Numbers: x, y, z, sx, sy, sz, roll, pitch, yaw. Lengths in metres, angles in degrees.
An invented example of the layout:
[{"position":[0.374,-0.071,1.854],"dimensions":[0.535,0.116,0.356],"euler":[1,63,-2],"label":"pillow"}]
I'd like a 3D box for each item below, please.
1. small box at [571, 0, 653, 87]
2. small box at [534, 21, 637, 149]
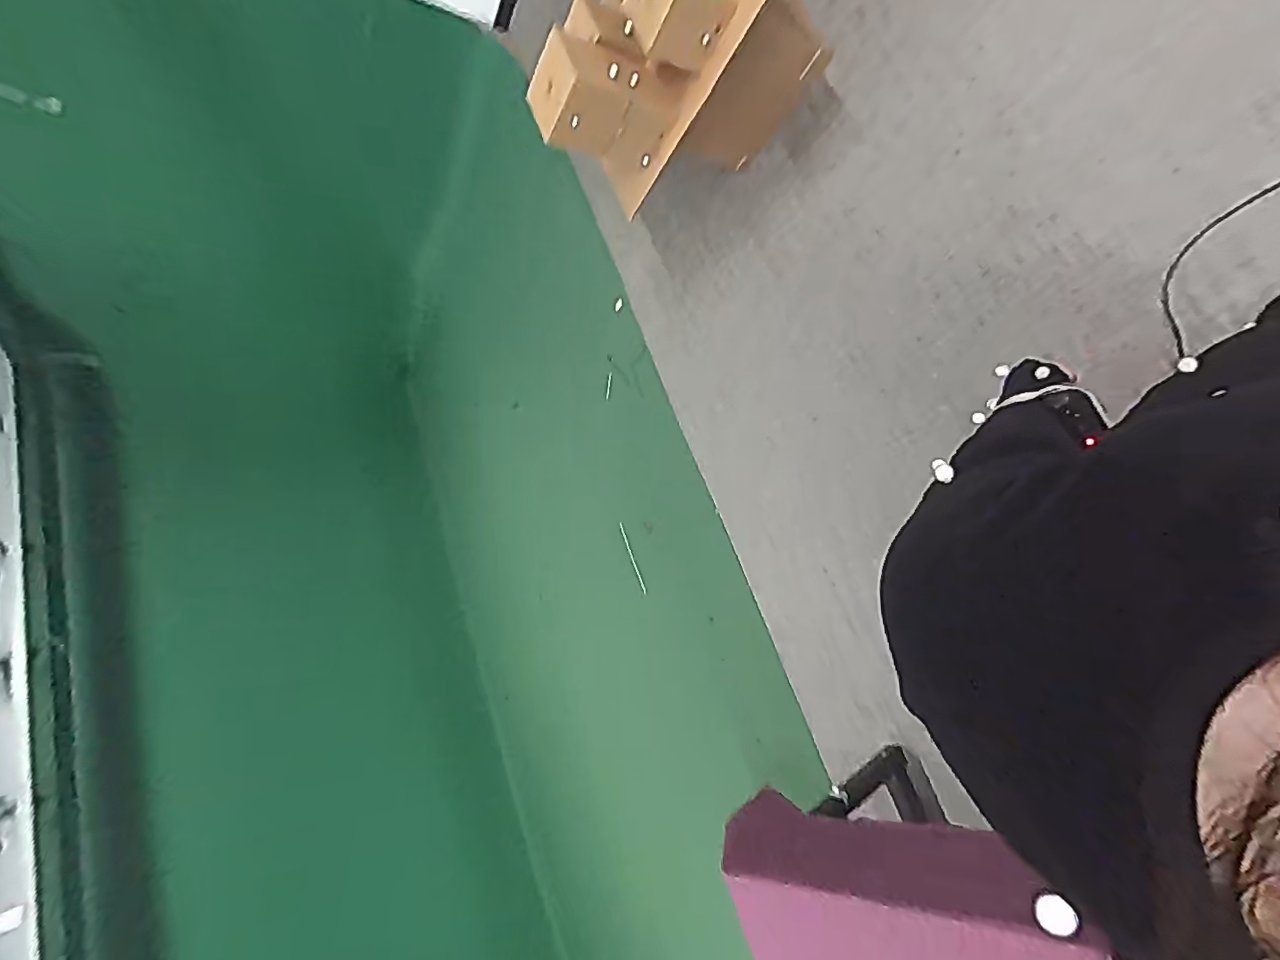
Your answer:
[{"position":[-0.091,-1.202,1.506],"dimensions":[0.168,0.176,0.179],"euler":[-42,63,50],"label":"small box"},{"position":[-0.135,-0.966,1.344],"dimensions":[0.179,0.176,0.168],"euler":[-36,70,49],"label":"small box"}]
